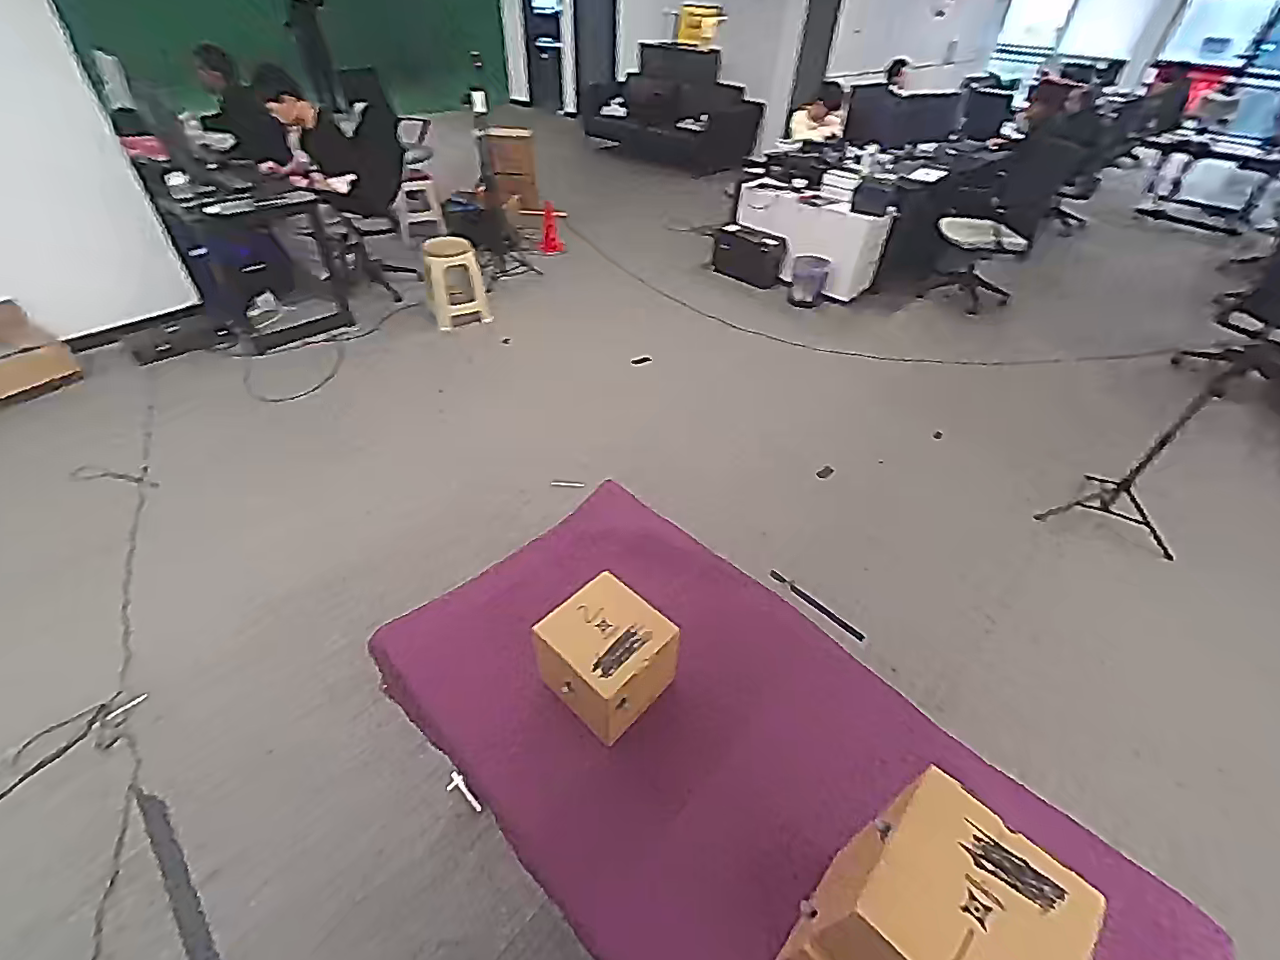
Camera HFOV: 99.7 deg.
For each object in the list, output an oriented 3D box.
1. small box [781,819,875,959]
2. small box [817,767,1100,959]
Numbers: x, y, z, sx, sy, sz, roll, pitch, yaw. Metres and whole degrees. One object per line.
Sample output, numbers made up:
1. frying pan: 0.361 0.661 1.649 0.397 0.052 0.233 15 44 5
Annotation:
1. small box: 0.290 0.568 0.654 0.168 0.176 0.179 35 51 29
2. small box: 0.305 0.444 0.548 0.179 0.176 0.168 -33 53 -32
